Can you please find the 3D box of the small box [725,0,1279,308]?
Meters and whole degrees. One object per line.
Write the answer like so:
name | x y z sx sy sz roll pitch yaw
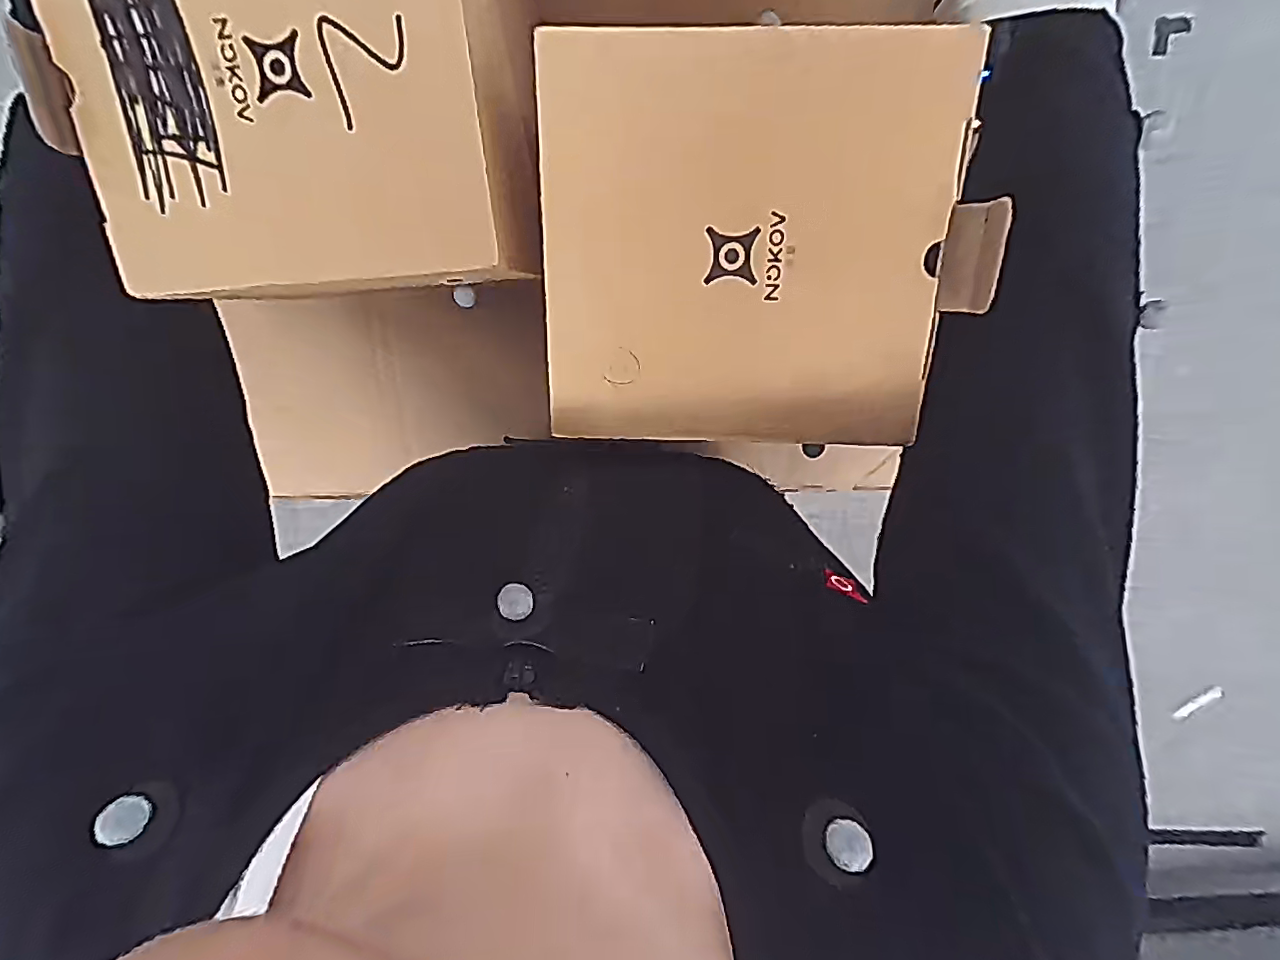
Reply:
small box | 0.151 -0.194 0.265 0.179 0.176 0.168 14 115 -2
